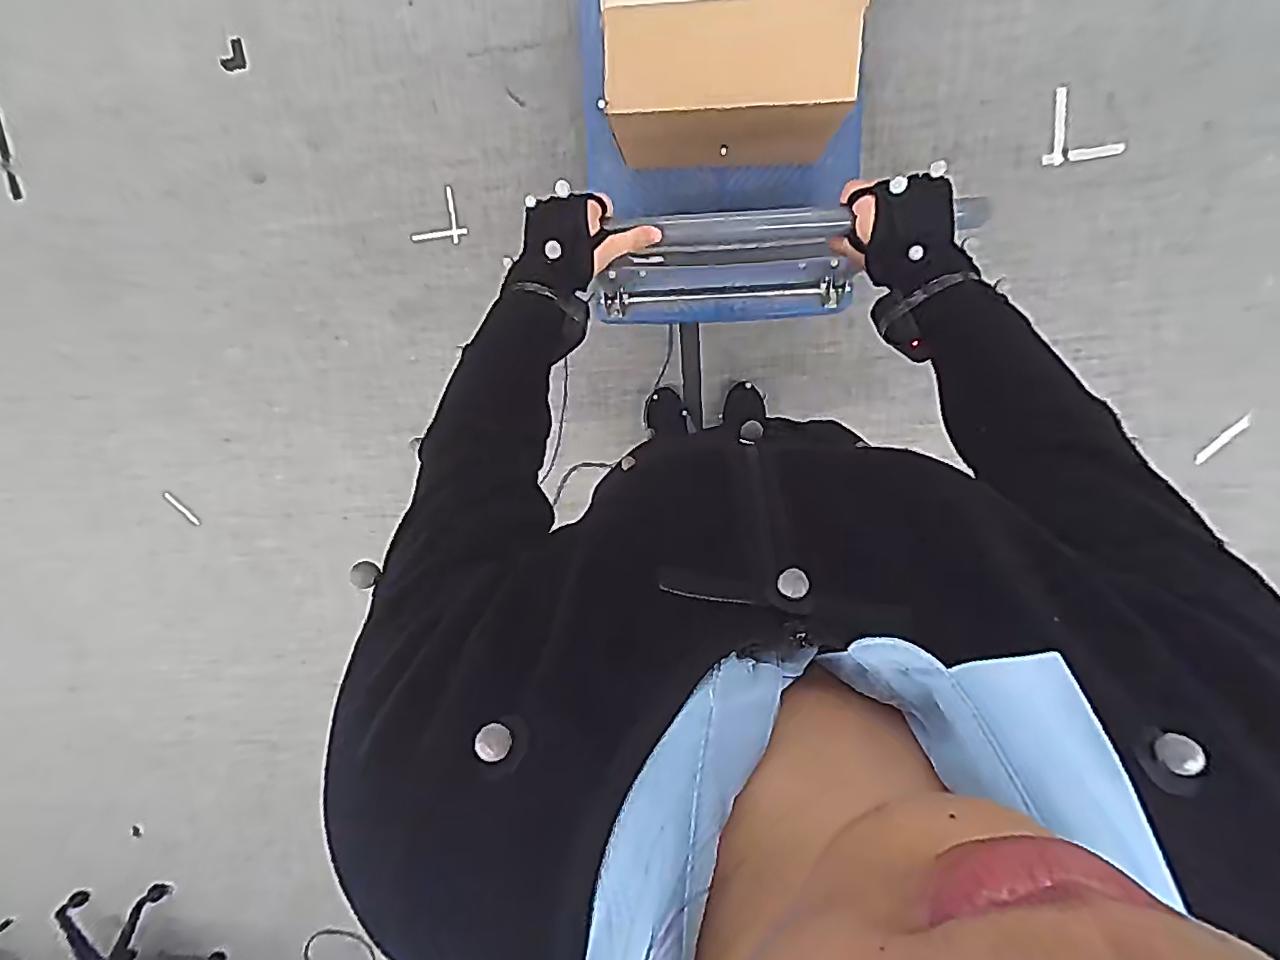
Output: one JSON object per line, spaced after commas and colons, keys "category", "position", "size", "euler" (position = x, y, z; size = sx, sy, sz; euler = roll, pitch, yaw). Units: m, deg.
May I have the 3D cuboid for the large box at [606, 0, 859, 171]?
{"category": "large box", "position": [0.160, -0.793, 0.996], "size": [0.408, 0.320, 0.320], "euler": [1, 103, 6]}
